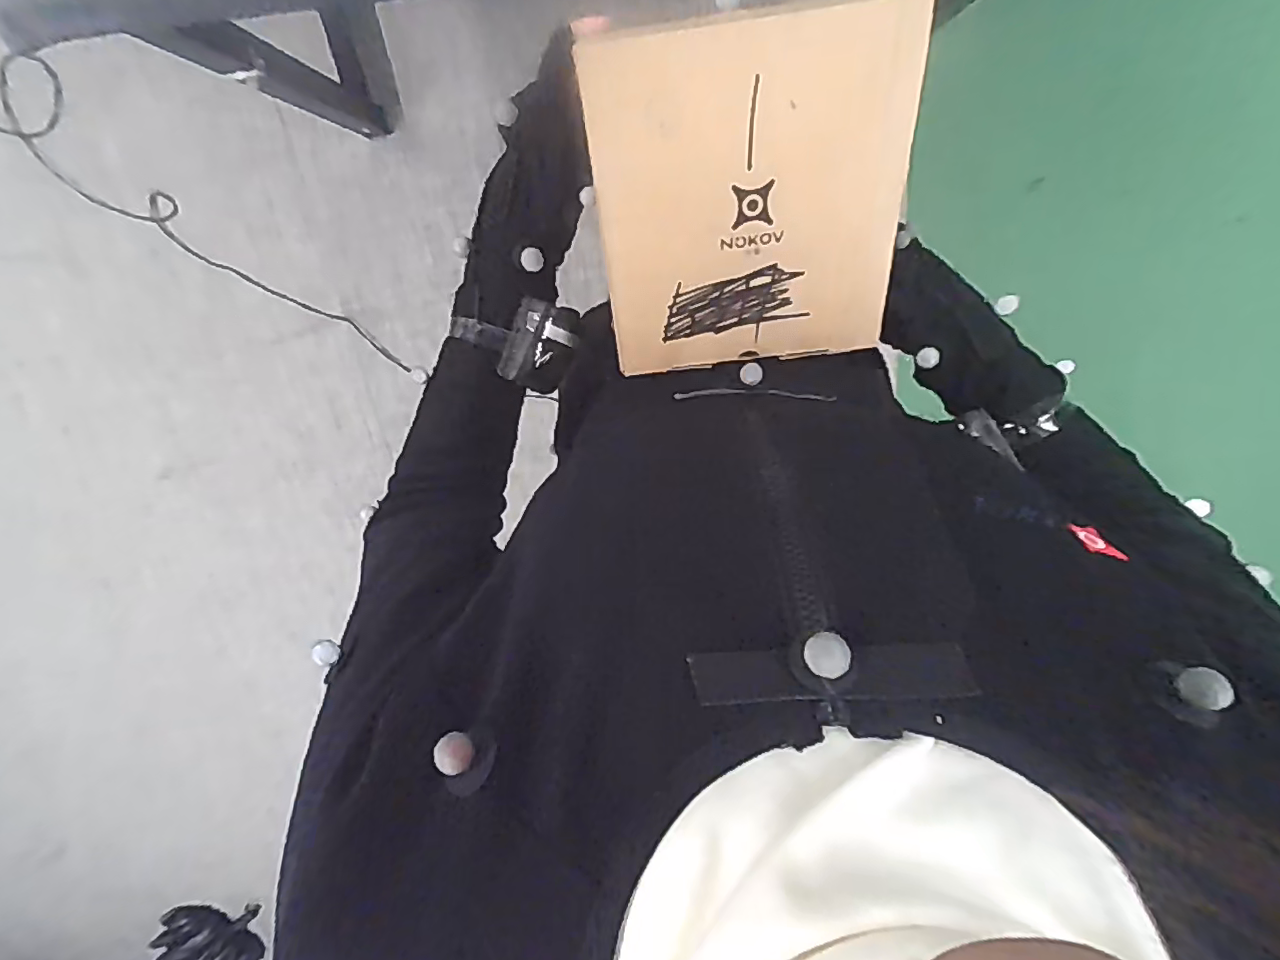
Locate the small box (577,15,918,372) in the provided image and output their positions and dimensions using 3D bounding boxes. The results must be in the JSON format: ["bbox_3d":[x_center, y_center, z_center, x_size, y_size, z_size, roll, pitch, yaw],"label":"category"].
[{"bbox_3d":[0.056,-0.196,0.371,0.168,0.176,0.179,-5,129,2],"label":"small box"}]
